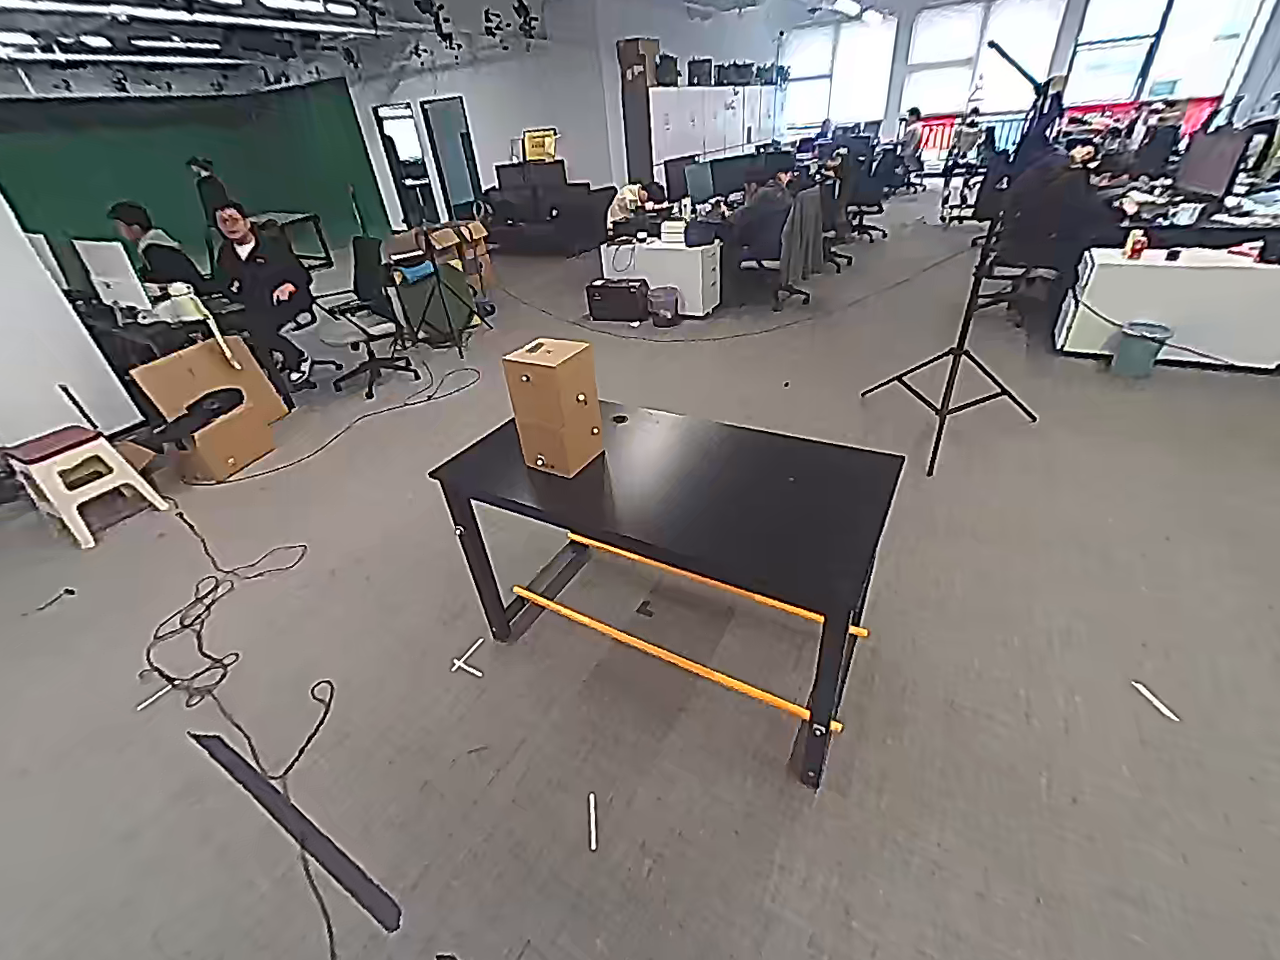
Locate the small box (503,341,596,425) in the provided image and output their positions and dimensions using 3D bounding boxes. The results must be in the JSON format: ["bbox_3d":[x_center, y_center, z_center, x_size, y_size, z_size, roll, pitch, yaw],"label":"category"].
[{"bbox_3d":[-0.238,-0.265,1.465,0.179,0.176,0.168,14,38,26],"label":"small box"}]

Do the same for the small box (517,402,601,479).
[{"bbox_3d":[-0.224,-0.129,1.557,0.168,0.176,0.179,13,39,28],"label":"small box"}]
